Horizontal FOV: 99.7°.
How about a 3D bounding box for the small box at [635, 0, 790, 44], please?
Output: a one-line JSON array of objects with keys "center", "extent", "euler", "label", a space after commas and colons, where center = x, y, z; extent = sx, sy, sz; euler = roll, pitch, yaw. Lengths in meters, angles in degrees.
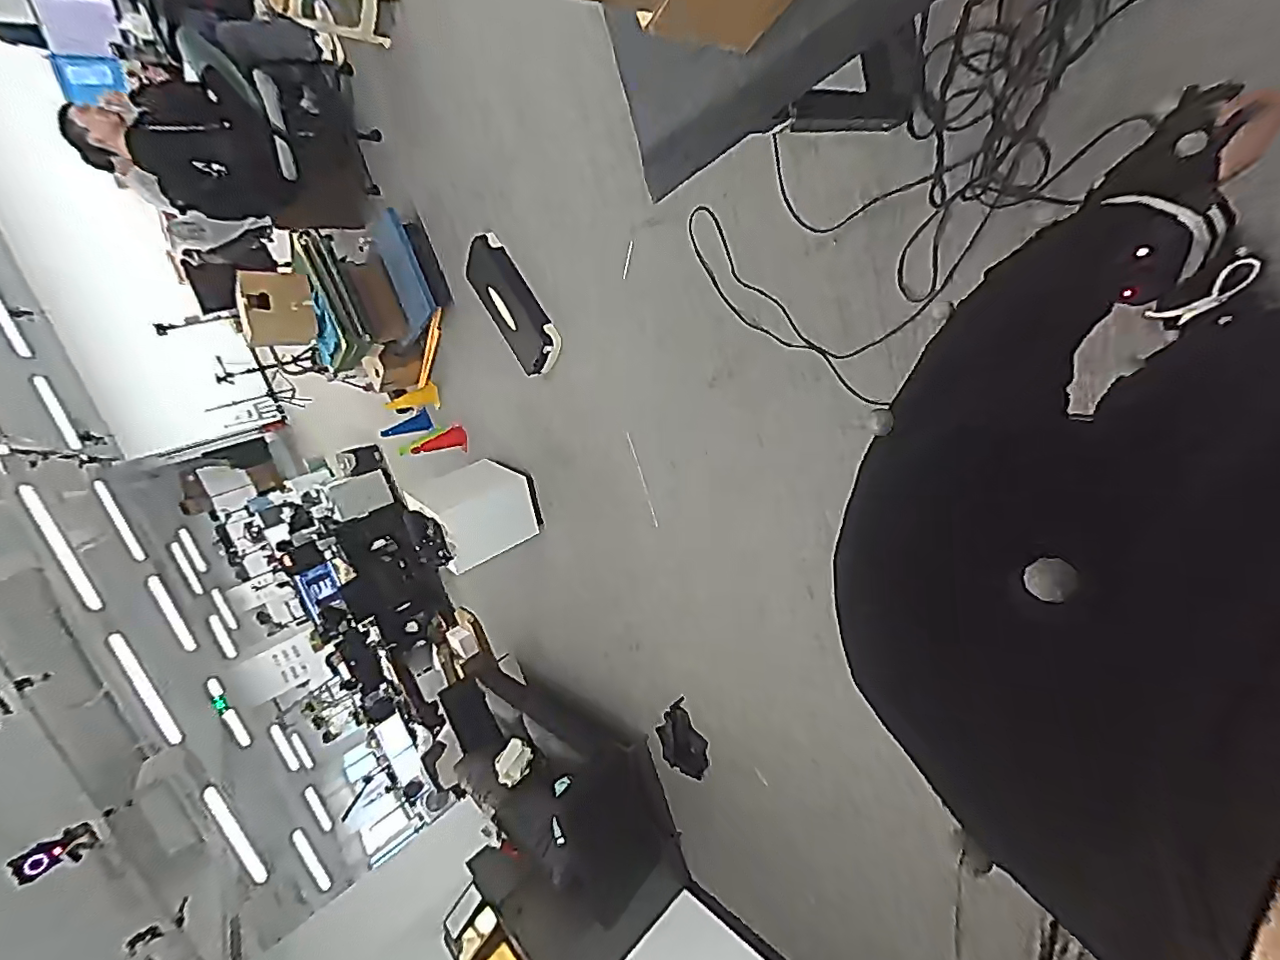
[{"center": [0.085, -0.563, 0.510], "extent": [0.179, 0.176, 0.168], "euler": [-15, 98, 55], "label": "small box"}]
